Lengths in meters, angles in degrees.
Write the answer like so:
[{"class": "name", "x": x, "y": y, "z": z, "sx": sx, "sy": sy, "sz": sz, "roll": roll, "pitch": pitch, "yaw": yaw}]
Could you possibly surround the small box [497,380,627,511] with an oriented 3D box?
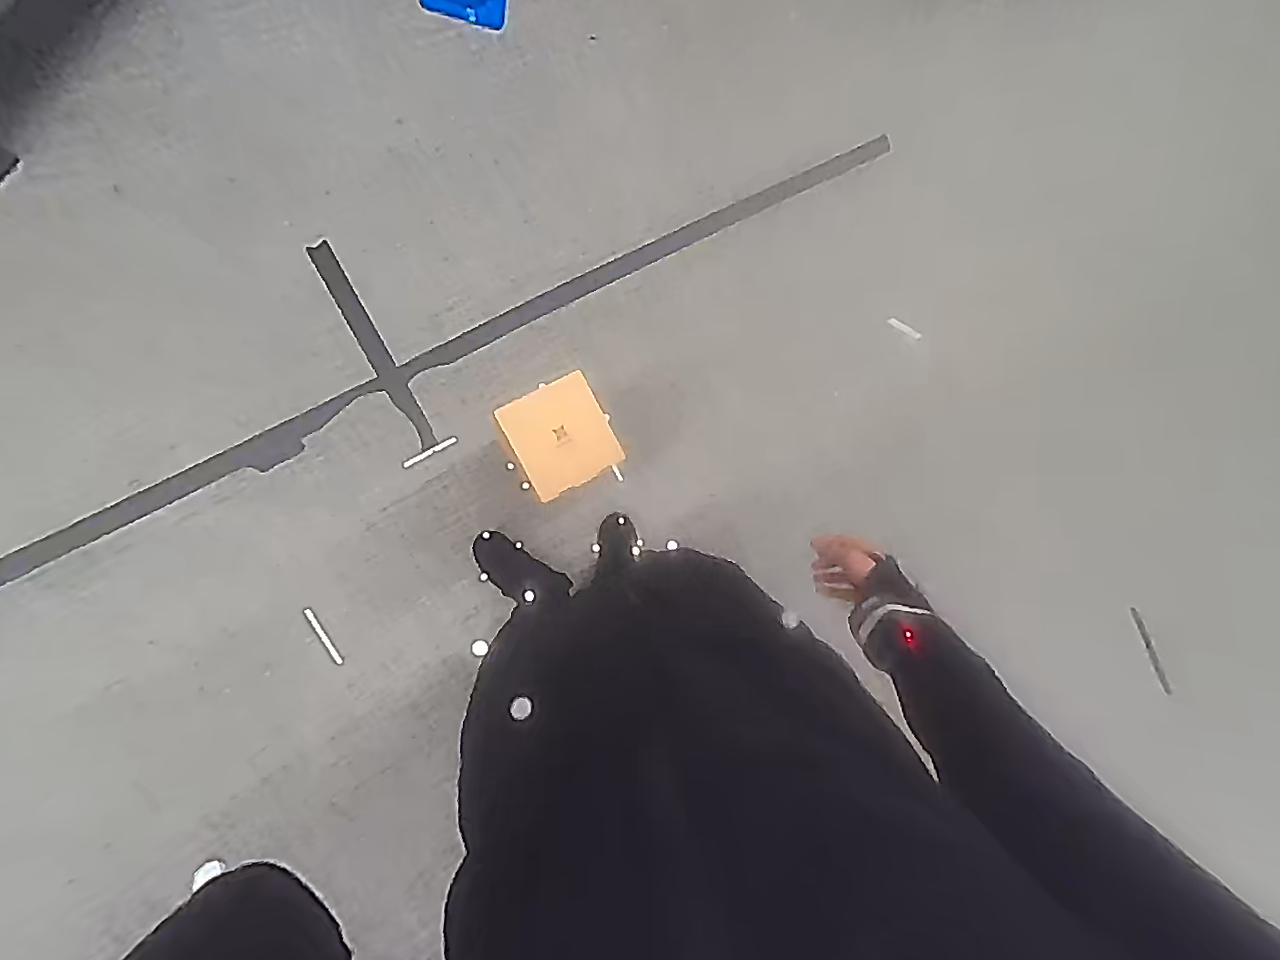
[{"class": "small box", "x": -0.150, "y": -0.057, "z": 0.989, "sx": 0.168, "sy": 0.176, "sz": 0.179, "roll": -30, "pitch": 98, "yaw": -14}]
